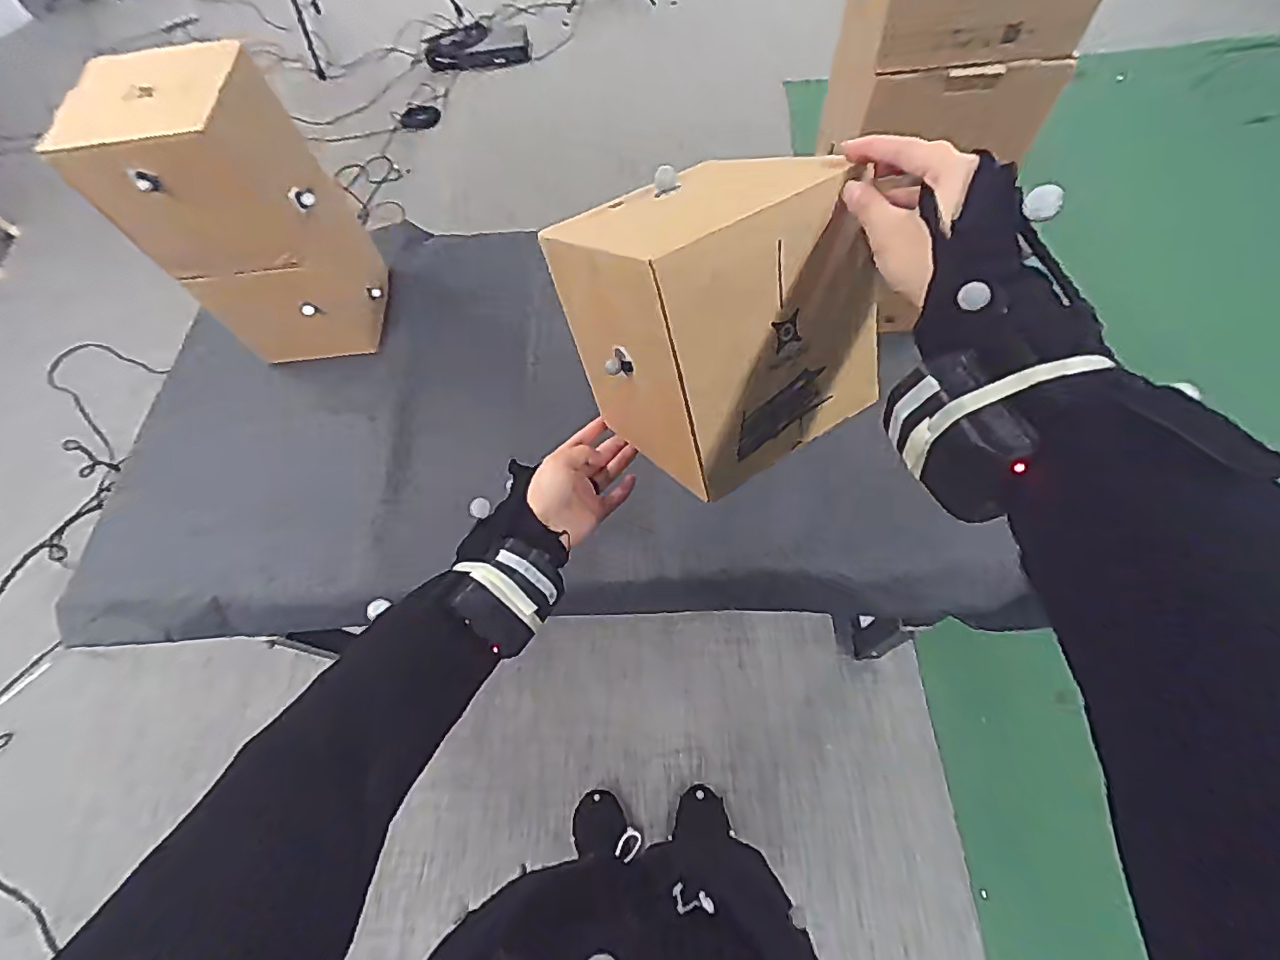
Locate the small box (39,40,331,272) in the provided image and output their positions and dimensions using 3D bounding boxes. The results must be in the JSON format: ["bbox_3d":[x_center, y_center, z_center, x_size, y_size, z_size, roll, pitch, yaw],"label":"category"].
[{"bbox_3d":[-0.505,-0.367,0.633,0.179,0.176,0.168,-6,65,1],"label":"small box"}]

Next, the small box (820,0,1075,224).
[{"bbox_3d":[0.294,-0.389,0.563,0.168,0.176,0.179,-1,65,6],"label":"small box"}]

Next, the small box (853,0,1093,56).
[{"bbox_3d":[0.271,-0.461,0.416,0.168,0.176,0.179,-2,64,5],"label":"small box"}]

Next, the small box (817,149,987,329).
[{"bbox_3d":[0.312,-0.322,0.711,0.168,0.176,0.179,-1,64,6],"label":"small box"}]

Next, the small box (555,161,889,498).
[{"bbox_3d":[0.060,-0.124,0.411,0.168,0.179,0.176,-30,38,-16],"label":"small box"}]
